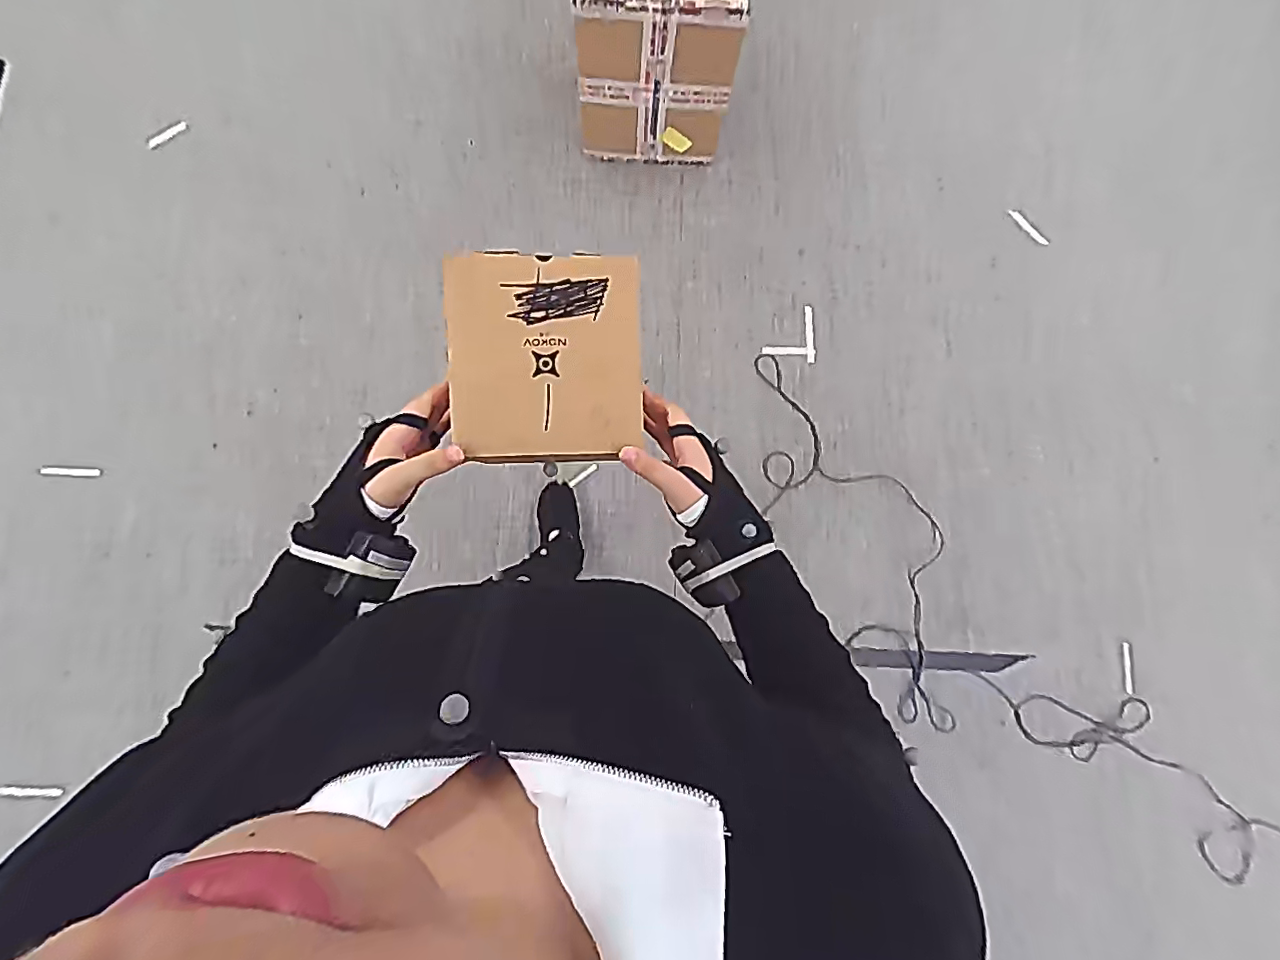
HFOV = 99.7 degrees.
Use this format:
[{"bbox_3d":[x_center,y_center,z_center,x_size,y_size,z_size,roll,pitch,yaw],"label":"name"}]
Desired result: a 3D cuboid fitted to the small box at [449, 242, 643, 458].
[{"bbox_3d":[-0.088,-0.114,0.541,0.168,0.176,0.179,-1,90,-6],"label":"small box"}]
